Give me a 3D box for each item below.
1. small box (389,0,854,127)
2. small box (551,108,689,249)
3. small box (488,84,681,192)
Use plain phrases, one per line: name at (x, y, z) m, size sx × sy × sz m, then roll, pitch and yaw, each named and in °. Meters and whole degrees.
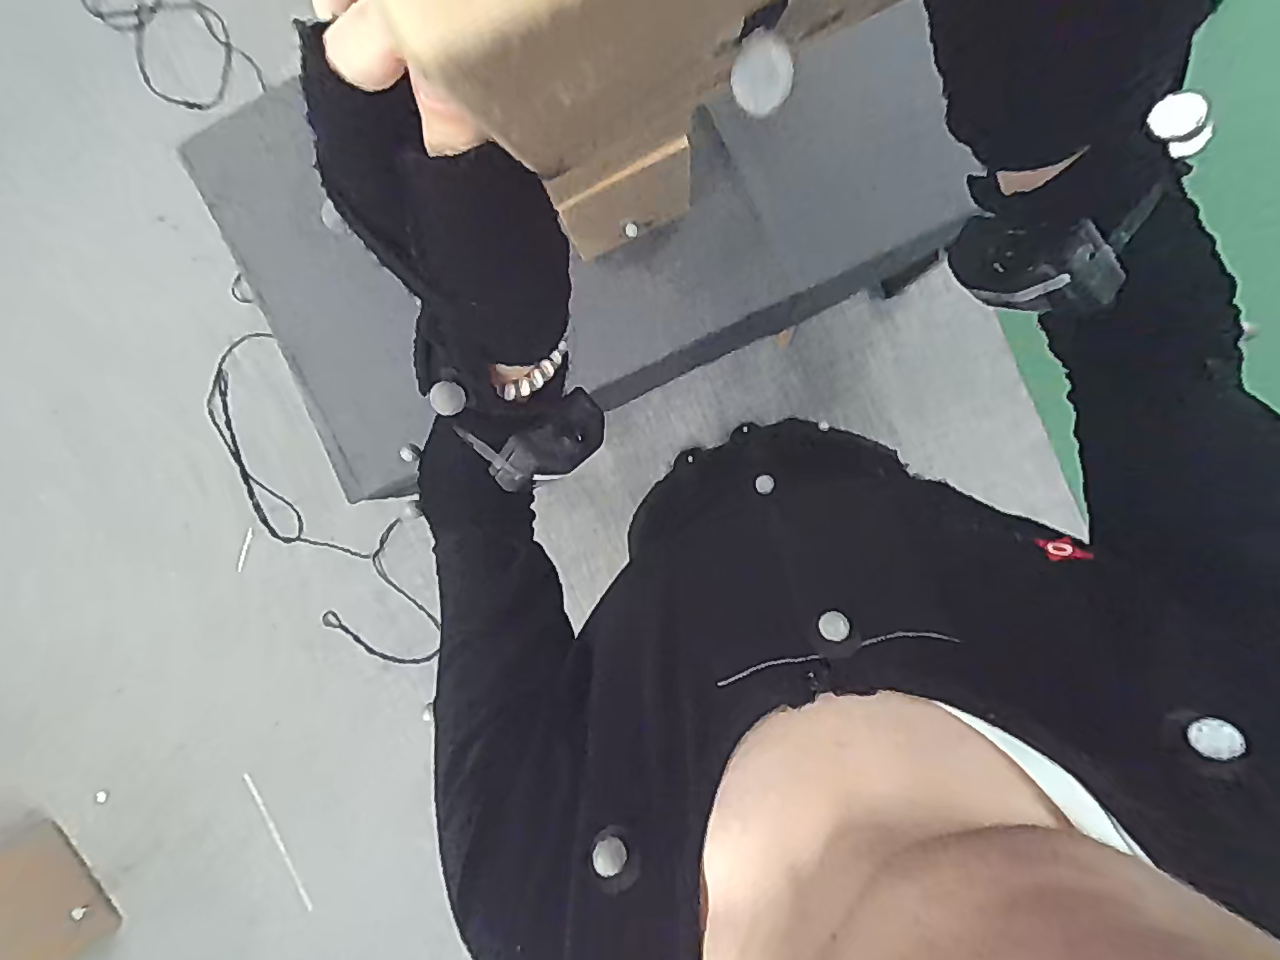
small box at (0.008, -0.189, 0.091) m, size 0.168 × 0.176 × 0.179 m, roll -23°, pitch 114°, yaw 7°
small box at (-0.048, -0.425, 0.673) m, size 0.168 × 0.176 × 0.179 m, roll -23°, pitch 91°, yaw 6°
small box at (-0.068, -0.419, 0.512) m, size 0.179 × 0.176 × 0.168 m, roll -26°, pitch 89°, yaw 6°
